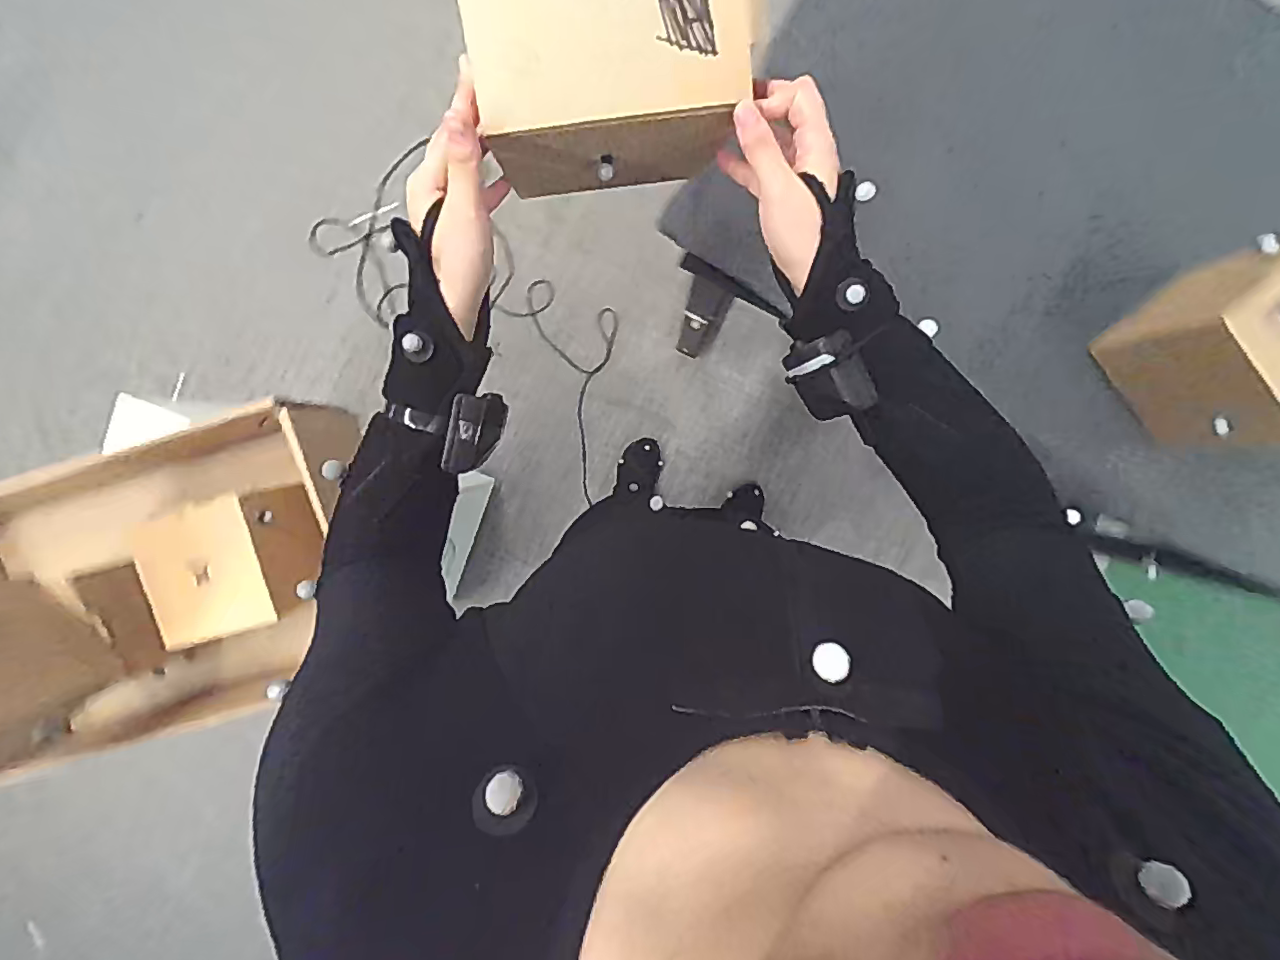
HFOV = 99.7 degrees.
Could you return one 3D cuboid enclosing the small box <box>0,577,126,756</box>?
[{"bbox_3d":[-0.802,0.237,0.647,0.168,0.176,0.179,-42,95,5],"label":"small box"}]
